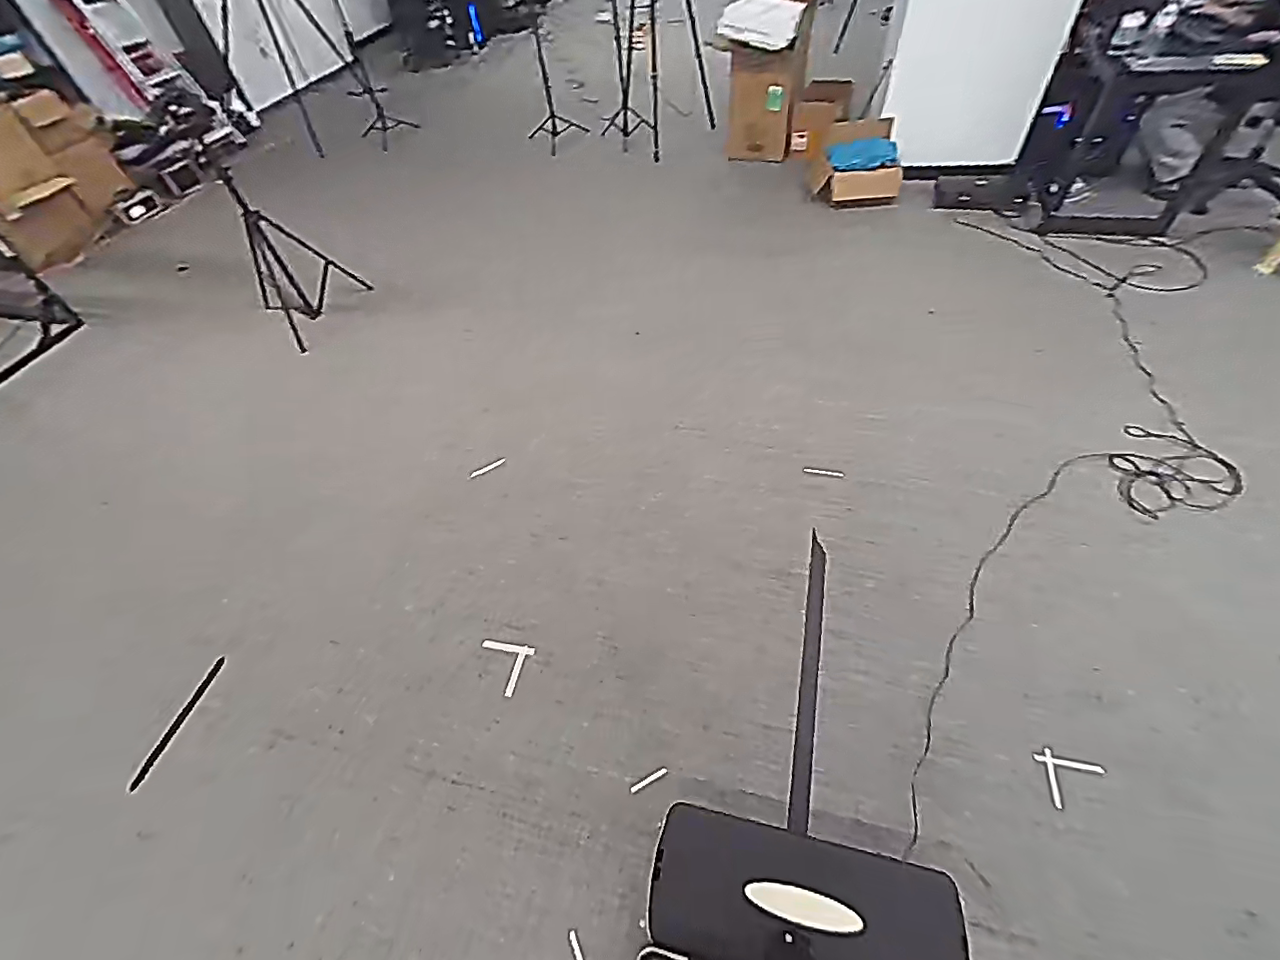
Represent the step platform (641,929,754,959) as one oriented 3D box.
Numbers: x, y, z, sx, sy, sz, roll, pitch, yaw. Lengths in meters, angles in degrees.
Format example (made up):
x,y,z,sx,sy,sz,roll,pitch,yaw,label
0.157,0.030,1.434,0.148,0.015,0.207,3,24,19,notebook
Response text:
x,y,z,sx,sy,sz,roll,pitch,yaw,label
0.307,1.122,1.024,0.684,0.204,0.286,6,52,13,step platform
